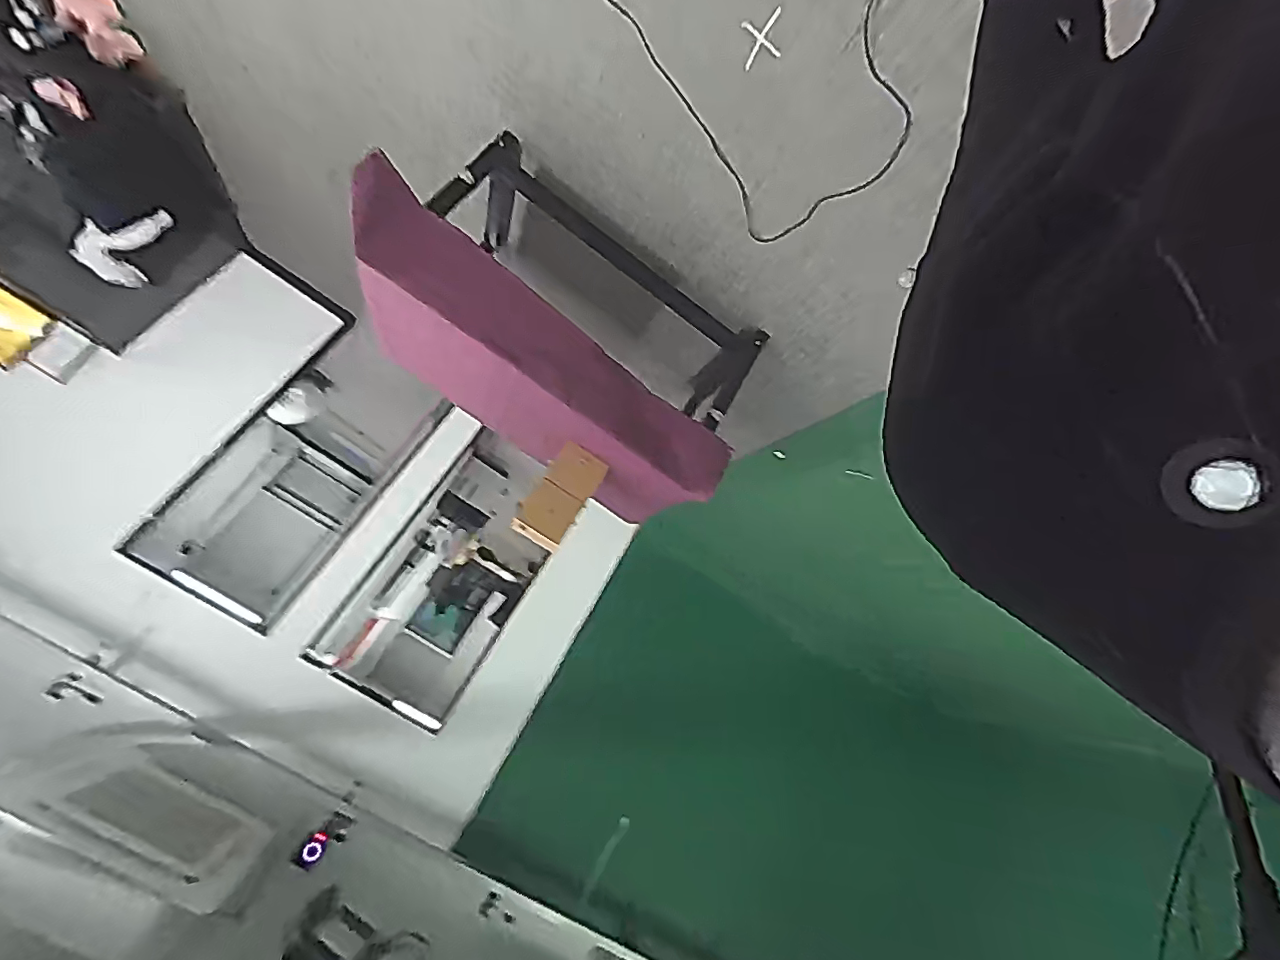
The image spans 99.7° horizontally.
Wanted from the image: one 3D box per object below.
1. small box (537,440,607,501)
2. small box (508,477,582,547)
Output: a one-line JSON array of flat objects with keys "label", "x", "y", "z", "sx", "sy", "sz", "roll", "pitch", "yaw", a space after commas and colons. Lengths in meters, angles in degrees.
[{"label": "small box", "x": -0.246, "y": -0.024, "z": 1.923, "sx": 0.179, "sy": 0.176, "sz": 0.168, "roll": 35, "pitch": 157, "yaw": -7}, {"label": "small box", "x": -0.326, "y": 0.104, "z": 1.859, "sx": 0.179, "sy": 0.176, "sz": 0.168, "roll": 34, "pitch": 157, "yaw": -8}]
